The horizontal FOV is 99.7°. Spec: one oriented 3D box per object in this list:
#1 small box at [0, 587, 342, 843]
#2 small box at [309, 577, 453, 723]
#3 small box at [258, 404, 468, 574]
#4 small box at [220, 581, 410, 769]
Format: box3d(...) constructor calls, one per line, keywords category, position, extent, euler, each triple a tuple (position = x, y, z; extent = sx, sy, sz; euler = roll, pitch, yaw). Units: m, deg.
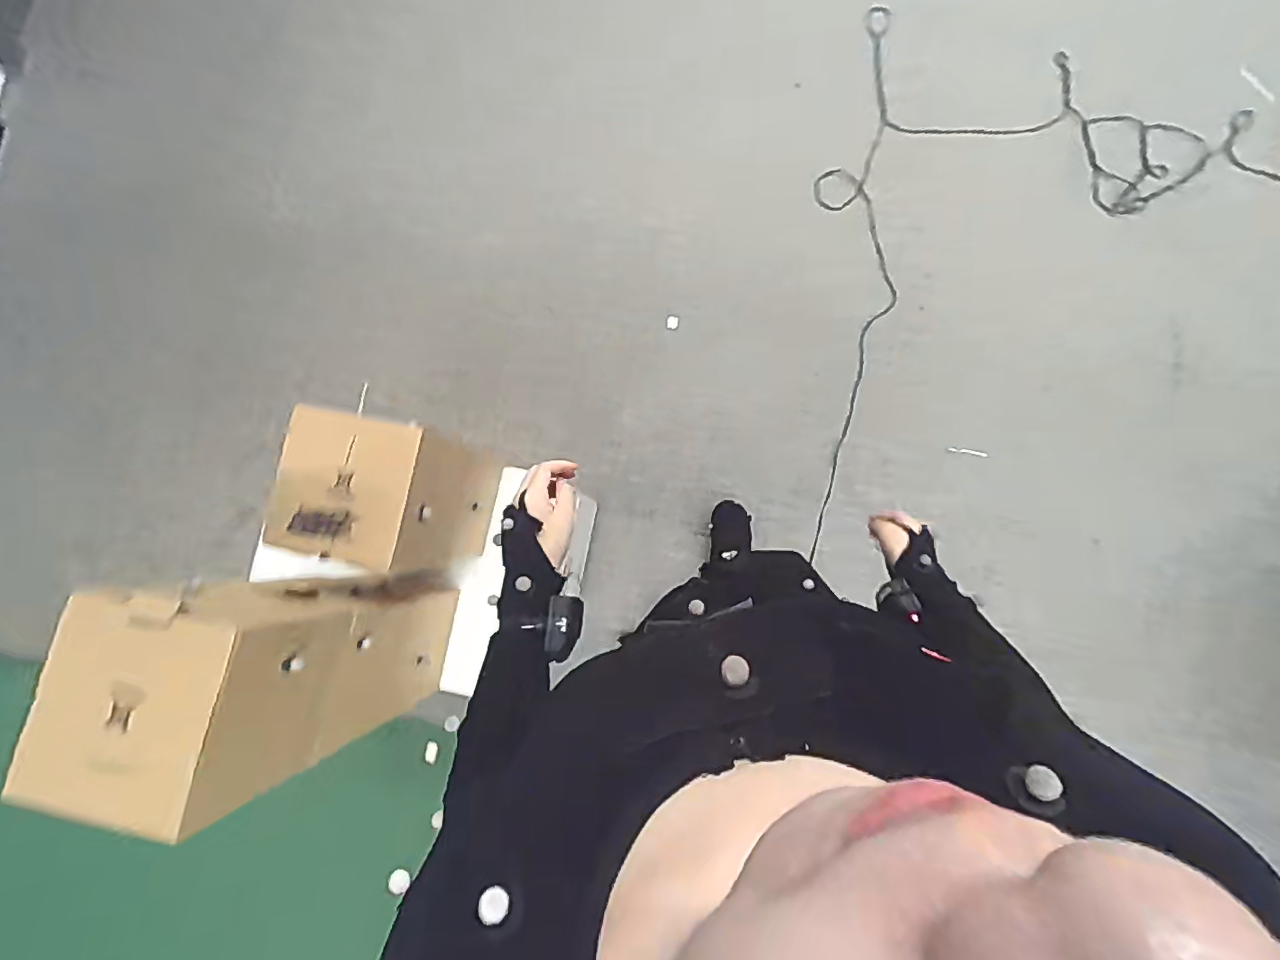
box3d(category="small box", position=(-0.428, 0.204, 0.527), extent=(0.168, 0.176, 0.179), euler=(9, 81, 6))
box3d(category="small box", position=(-0.415, 0.254, 0.849), extent=(0.168, 0.176, 0.179), euler=(9, 81, 4))
box3d(category="small box", position=(-0.346, 0.017, 0.710), extent=(0.168, 0.176, 0.179), euler=(10, 84, 4))
box3d(category="small box", position=(-0.421, 0.231, 0.687), extent=(0.168, 0.176, 0.179), euler=(11, 81, 5))
